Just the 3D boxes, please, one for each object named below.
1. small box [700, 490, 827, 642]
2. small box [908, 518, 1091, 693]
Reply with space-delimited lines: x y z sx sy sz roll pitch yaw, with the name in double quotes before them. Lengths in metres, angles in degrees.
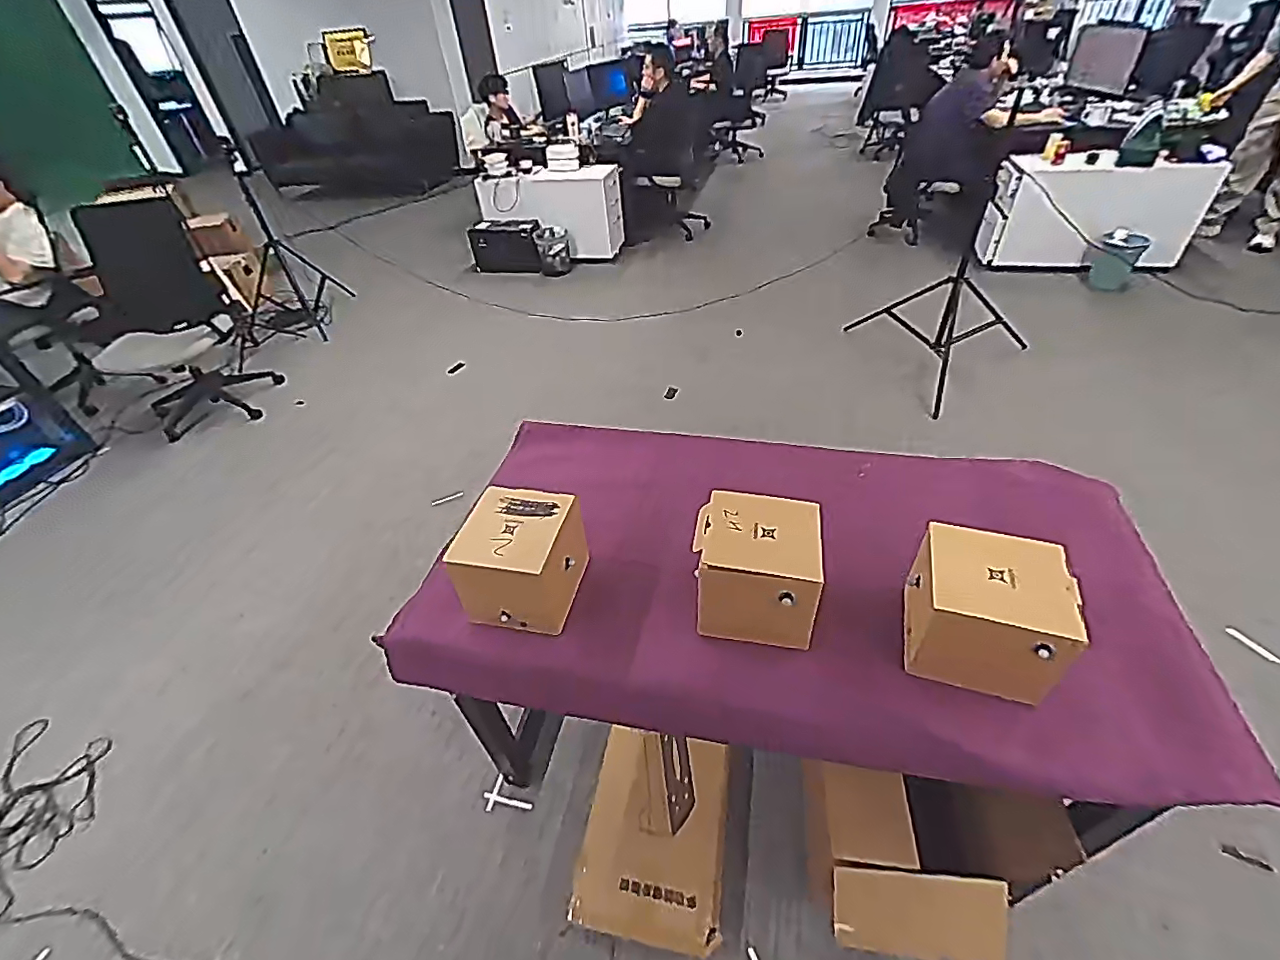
"small box" 0.194 0.139 0.868 0.179 0.176 0.168 5 40 12
"small box" 0.499 0.182 0.786 0.179 0.176 0.168 10 44 17
